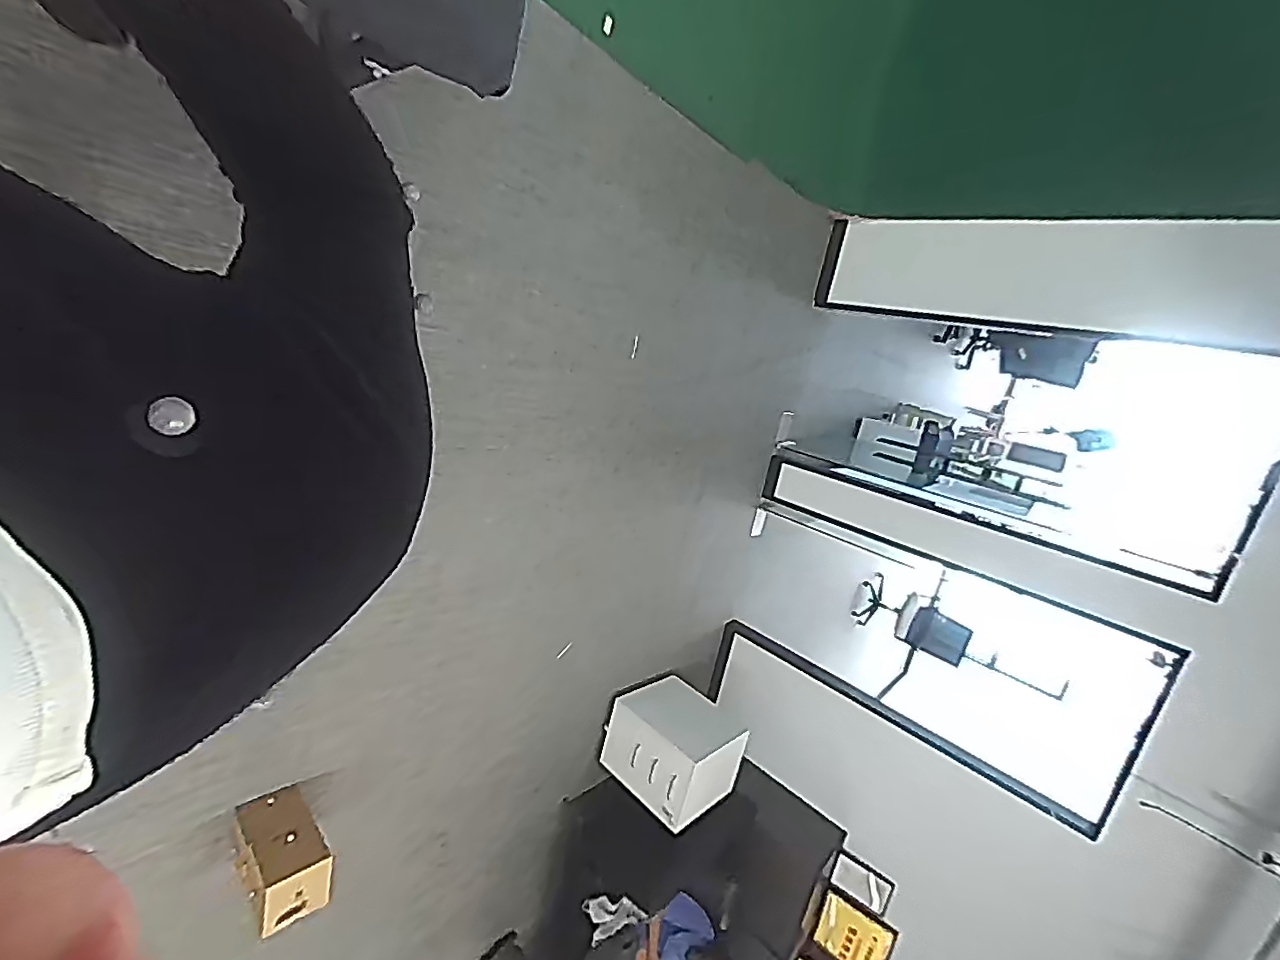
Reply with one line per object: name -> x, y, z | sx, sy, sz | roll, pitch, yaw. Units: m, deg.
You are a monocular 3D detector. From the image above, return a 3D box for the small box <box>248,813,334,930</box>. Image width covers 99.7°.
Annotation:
small box -> -1.006, 1.115, 1.555 | 0.168, 0.176, 0.179 | -4, 110, -50

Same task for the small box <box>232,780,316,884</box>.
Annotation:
small box -> -1.127, 1.070, 1.659 | 0.179, 0.176, 0.168 | -2, 110, -49
